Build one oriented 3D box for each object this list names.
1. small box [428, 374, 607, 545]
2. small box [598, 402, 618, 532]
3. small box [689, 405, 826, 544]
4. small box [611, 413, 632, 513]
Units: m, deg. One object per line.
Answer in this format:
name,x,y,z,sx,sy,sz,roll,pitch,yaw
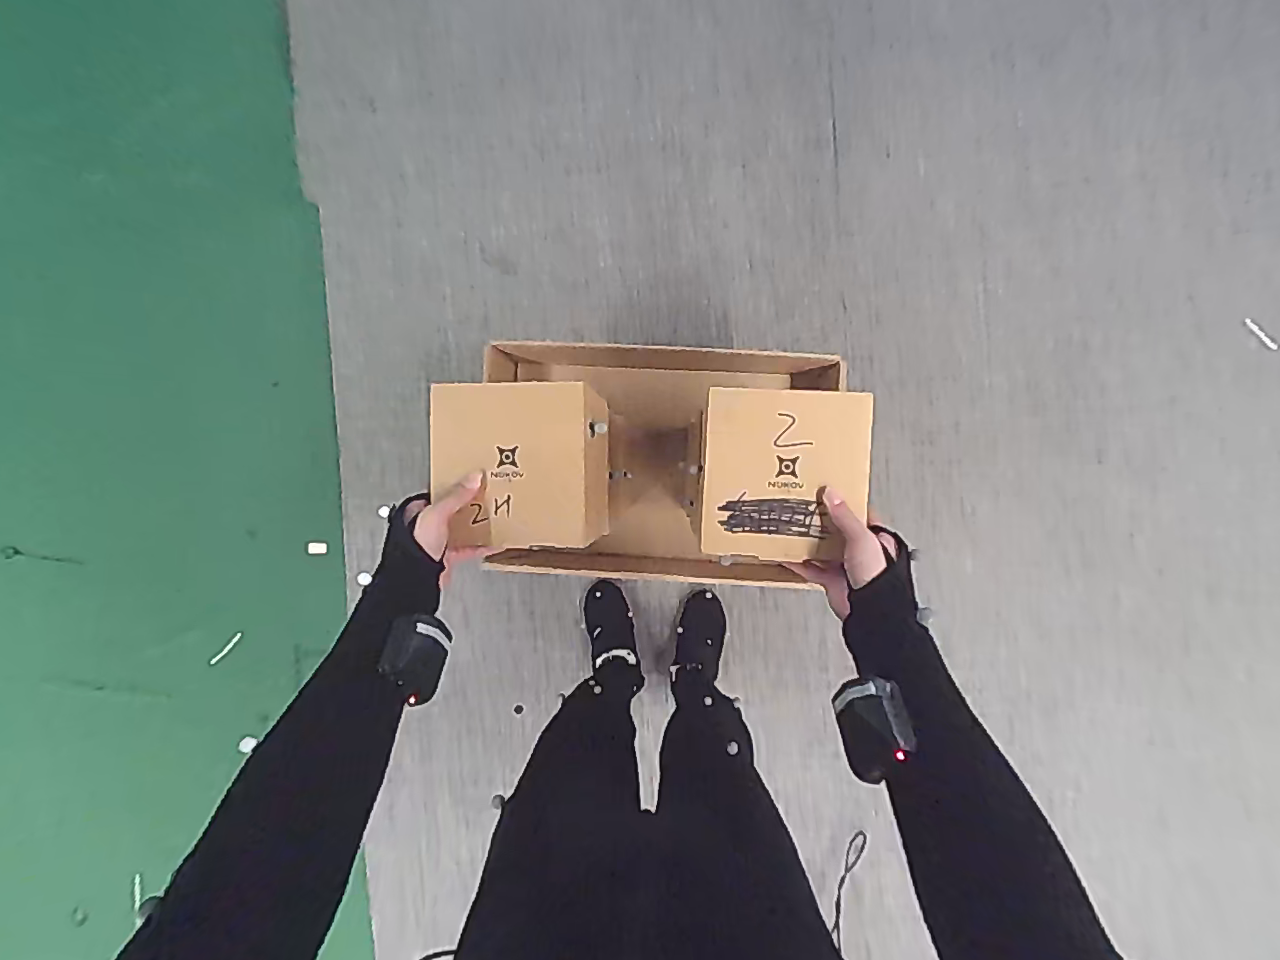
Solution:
small box,-0.132,-0.021,0.636,0.168,0.176,0.179,0,91,5
small box,-0.122,-0.016,0.804,0.168,0.176,0.179,0,90,3
small box,0.160,-0.007,0.785,0.168,0.176,0.179,3,90,3
small box,-0.109,-0.028,0.966,0.179,0.176,0.168,1,90,2
